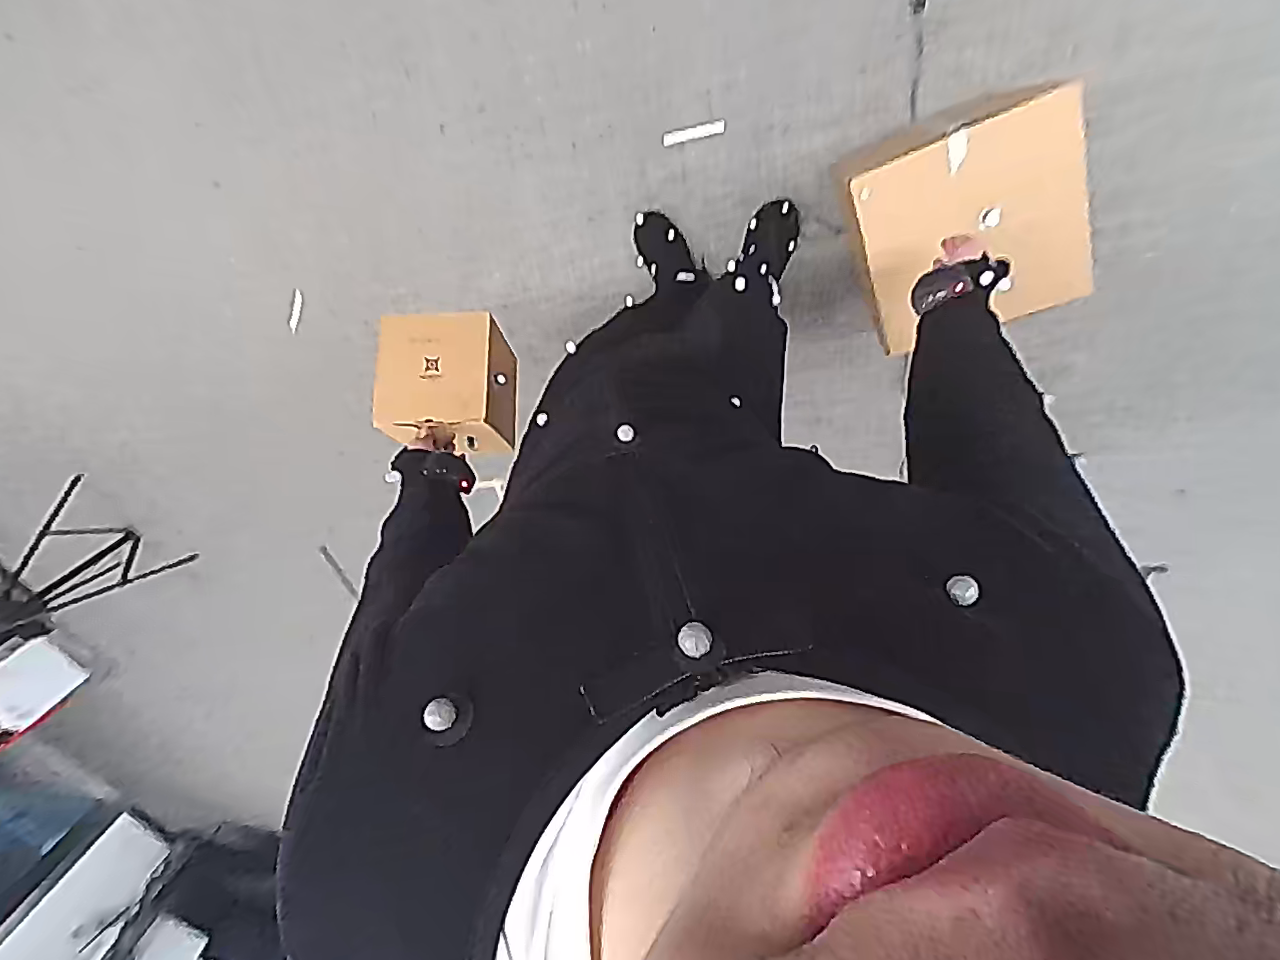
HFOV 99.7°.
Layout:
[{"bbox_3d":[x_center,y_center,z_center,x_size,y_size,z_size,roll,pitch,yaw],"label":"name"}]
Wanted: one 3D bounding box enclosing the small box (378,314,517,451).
[{"bbox_3d":[-0.301,-0.148,0.879,0.168,0.179,0.176,-2,167,0],"label":"small box"}]
